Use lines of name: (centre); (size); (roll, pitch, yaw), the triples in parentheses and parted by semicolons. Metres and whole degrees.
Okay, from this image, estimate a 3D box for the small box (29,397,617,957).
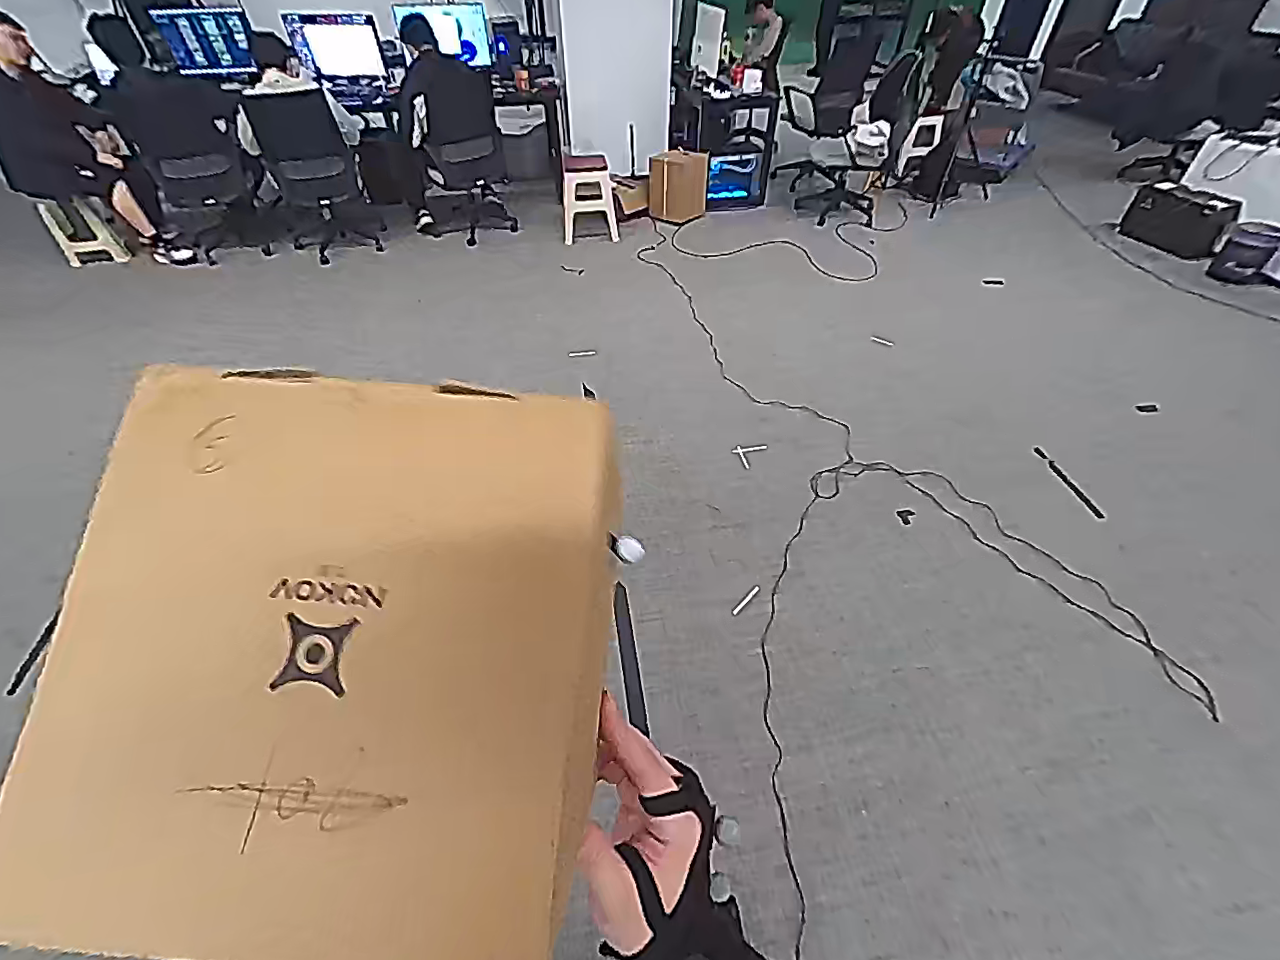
small box: (-0.101, 0.075, 0.261); (0.168, 0.176, 0.179); (1, 76, 2)
